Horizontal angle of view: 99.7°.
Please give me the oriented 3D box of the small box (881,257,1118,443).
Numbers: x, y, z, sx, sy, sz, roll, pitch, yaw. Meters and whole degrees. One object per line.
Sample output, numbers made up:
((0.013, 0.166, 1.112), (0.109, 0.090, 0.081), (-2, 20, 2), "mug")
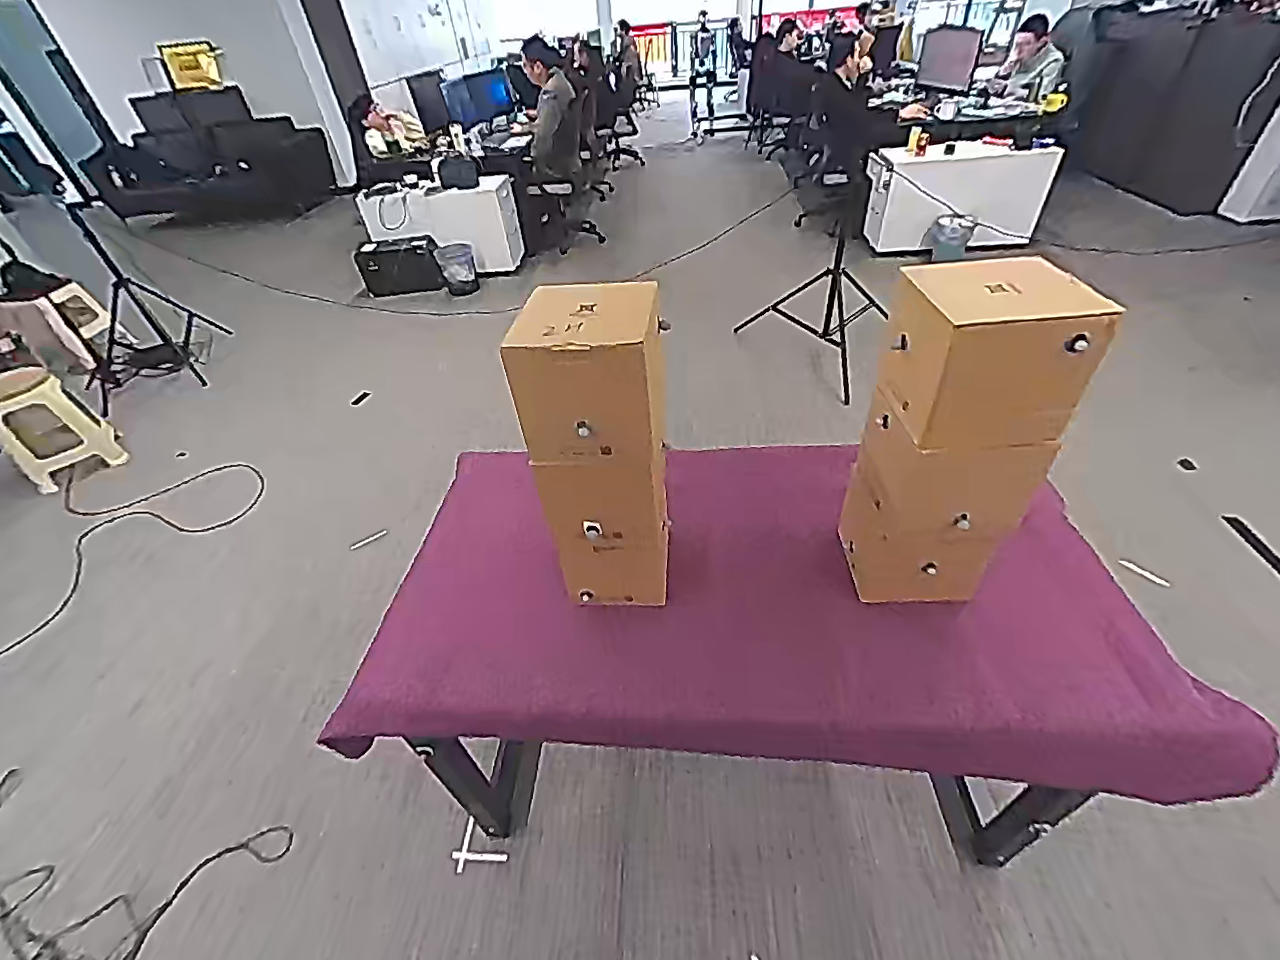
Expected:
((0.418, -0.159, 0.674), (0.179, 0.176, 0.168), (-4, 41, 3), "small box")

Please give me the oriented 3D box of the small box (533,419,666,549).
((-0.049, -0.017, 0.818), (0.168, 0.176, 0.179), (-1, 42, 6), "small box")

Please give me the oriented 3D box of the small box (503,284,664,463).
((-0.058, -0.141, 0.709), (0.168, 0.176, 0.179), (0, 41, 8), "small box")

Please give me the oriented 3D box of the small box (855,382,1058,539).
((0.432, -0.031, 0.775), (0.179, 0.176, 0.168), (-4, 41, 2), "small box")

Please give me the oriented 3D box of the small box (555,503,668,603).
((-0.039, 0.097, 0.934), (0.168, 0.176, 0.179), (-1, 41, 6), "small box")
